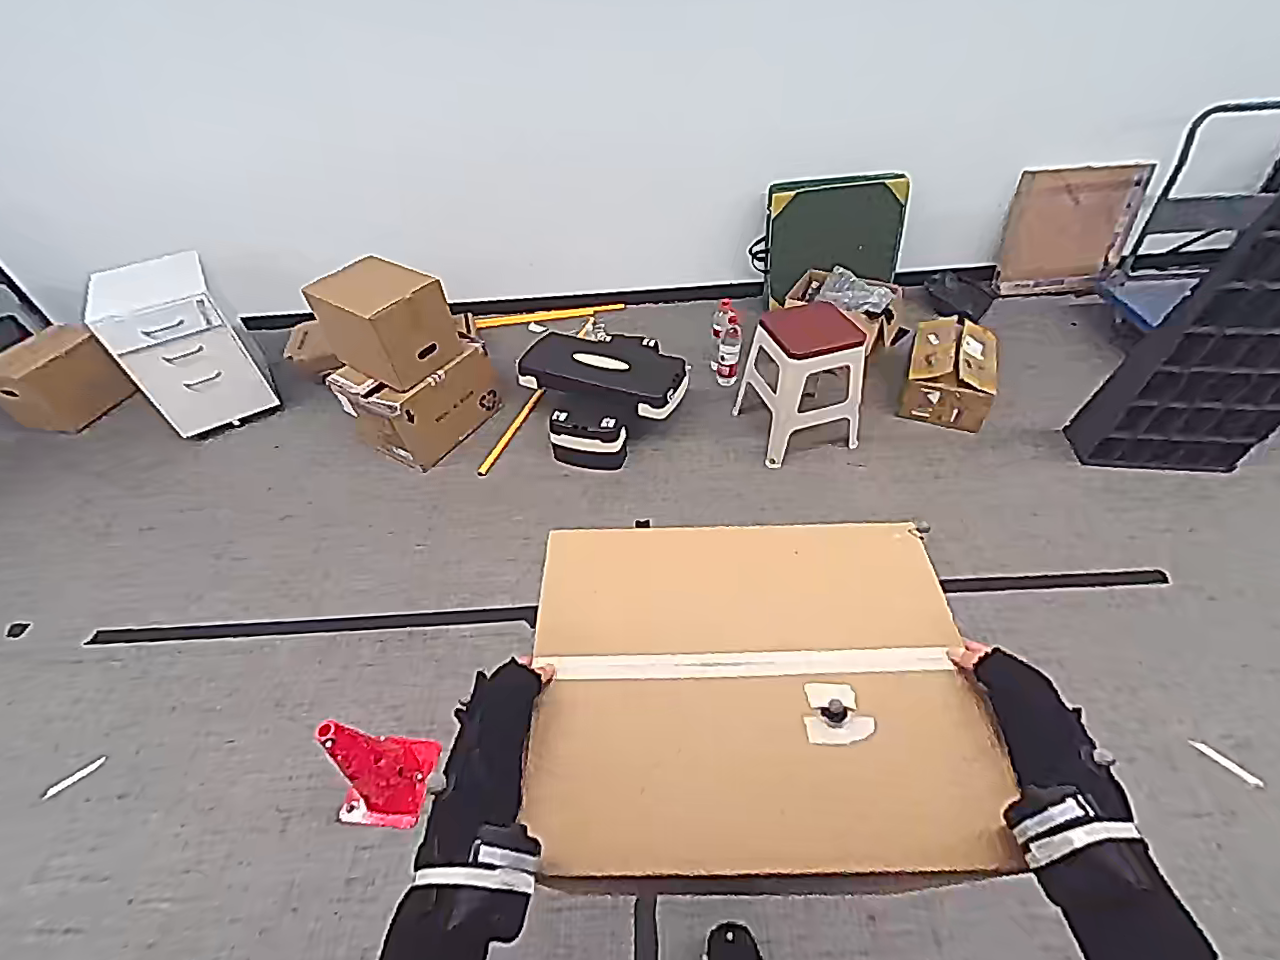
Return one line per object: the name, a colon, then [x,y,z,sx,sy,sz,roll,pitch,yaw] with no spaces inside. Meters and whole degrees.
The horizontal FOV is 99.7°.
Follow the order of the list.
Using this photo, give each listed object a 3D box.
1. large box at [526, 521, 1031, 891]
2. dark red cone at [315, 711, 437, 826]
large box: [0.106,0.266,0.625,0.408,0.320,0.320,-2,51,1]
dark red cone: [-0.631,0.625,1.228,0.201,0.394,0.202,2,46,5]
